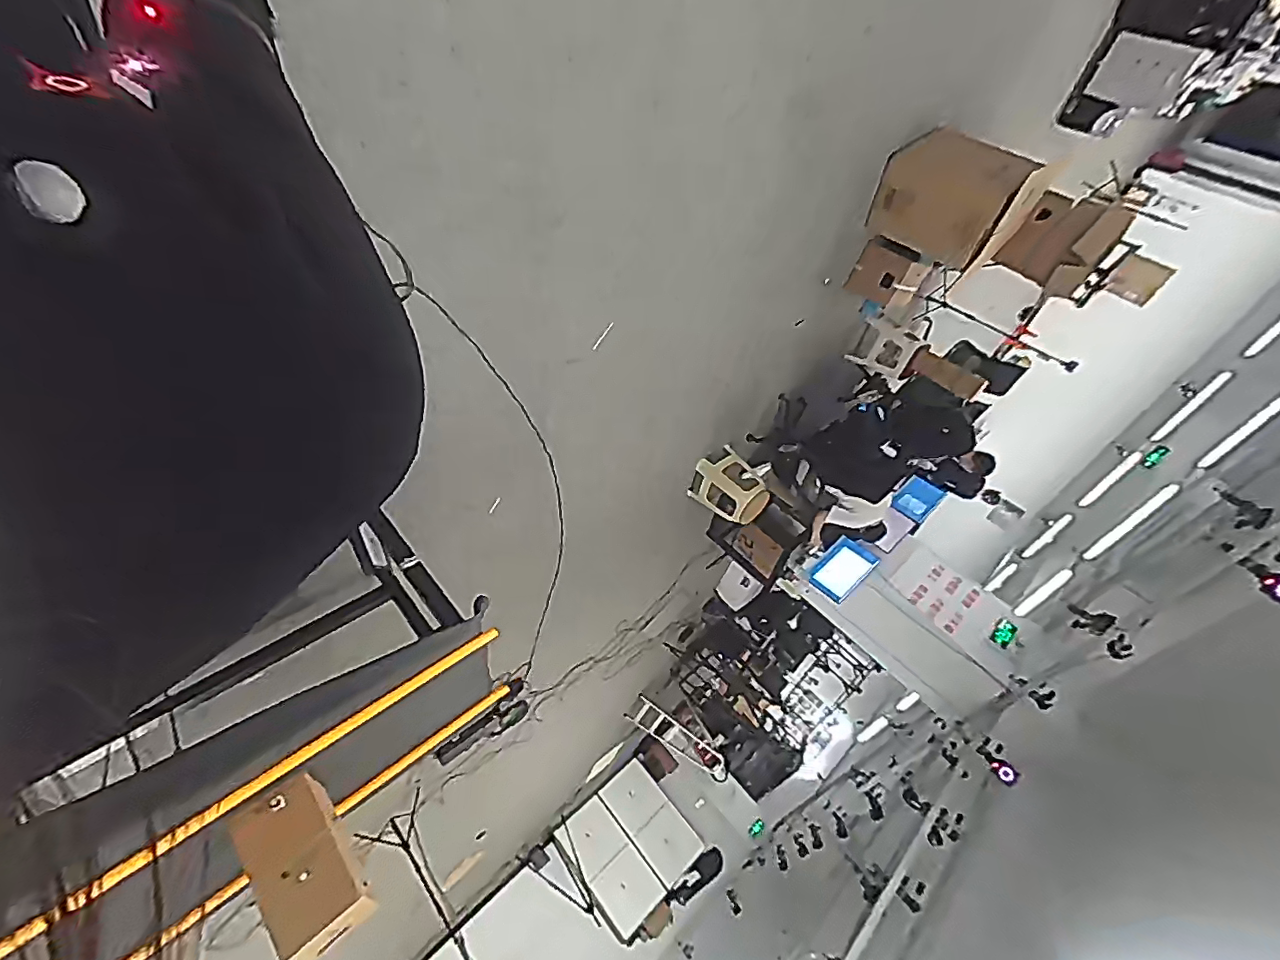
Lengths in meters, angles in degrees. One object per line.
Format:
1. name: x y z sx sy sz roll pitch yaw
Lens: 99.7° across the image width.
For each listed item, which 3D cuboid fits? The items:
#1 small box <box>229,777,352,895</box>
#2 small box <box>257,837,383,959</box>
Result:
1. small box: -0.817 0.839 1.270 0.168 0.176 0.179 -33 149 -32
2. small box: -0.705 0.937 1.200 0.168 0.176 0.179 -32 149 -33
